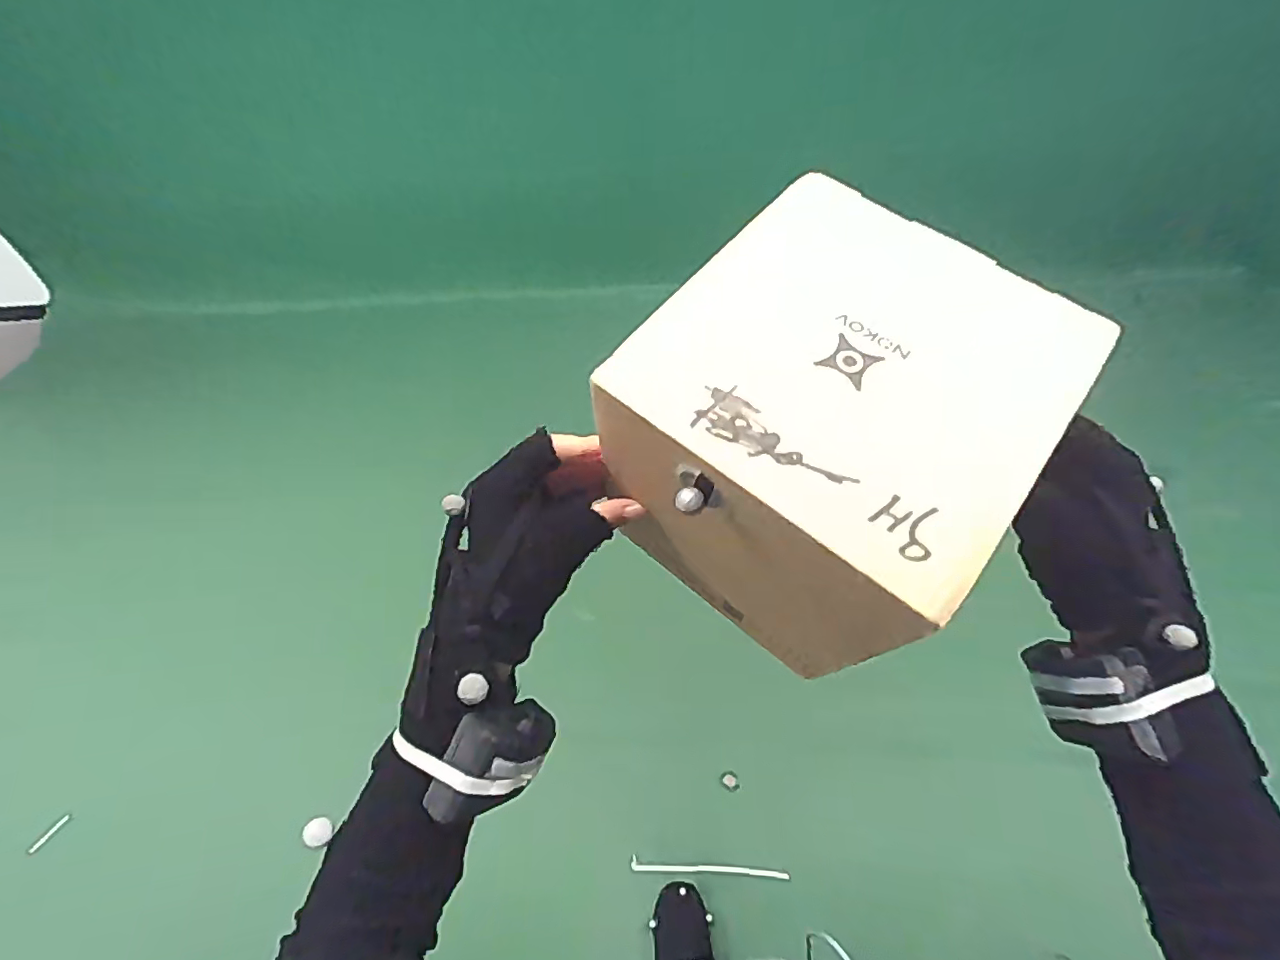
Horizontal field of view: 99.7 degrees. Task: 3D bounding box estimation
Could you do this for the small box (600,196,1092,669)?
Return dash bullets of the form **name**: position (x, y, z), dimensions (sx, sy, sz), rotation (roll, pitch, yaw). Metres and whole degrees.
- **small box**: position (0.096, -0.017, 0.318), dimensions (0.168, 0.176, 0.179), rotation (37, 70, 18)
